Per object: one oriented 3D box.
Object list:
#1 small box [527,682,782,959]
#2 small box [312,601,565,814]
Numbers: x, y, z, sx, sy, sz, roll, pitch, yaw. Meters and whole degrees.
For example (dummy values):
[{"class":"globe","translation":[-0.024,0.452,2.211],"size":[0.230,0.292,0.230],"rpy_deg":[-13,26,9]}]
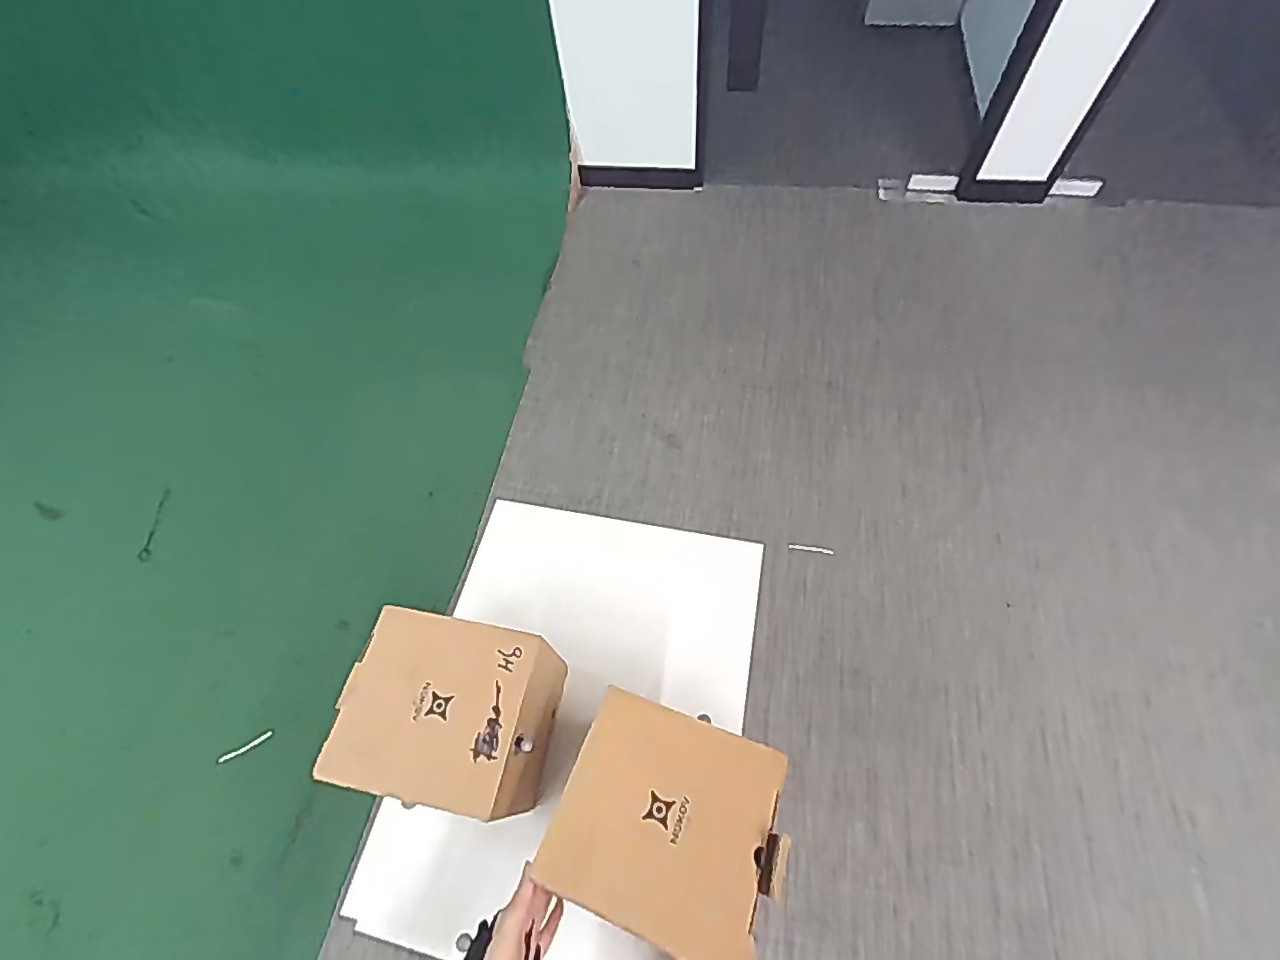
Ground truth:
[{"class":"small box","translation":[0.019,0.326,0.516],"size":[0.179,0.176,0.168],"rpy_deg":[16,53,14]},{"class":"small box","translation":[-0.197,0.247,0.589],"size":[0.179,0.176,0.168],"rpy_deg":[8,63,8]}]
